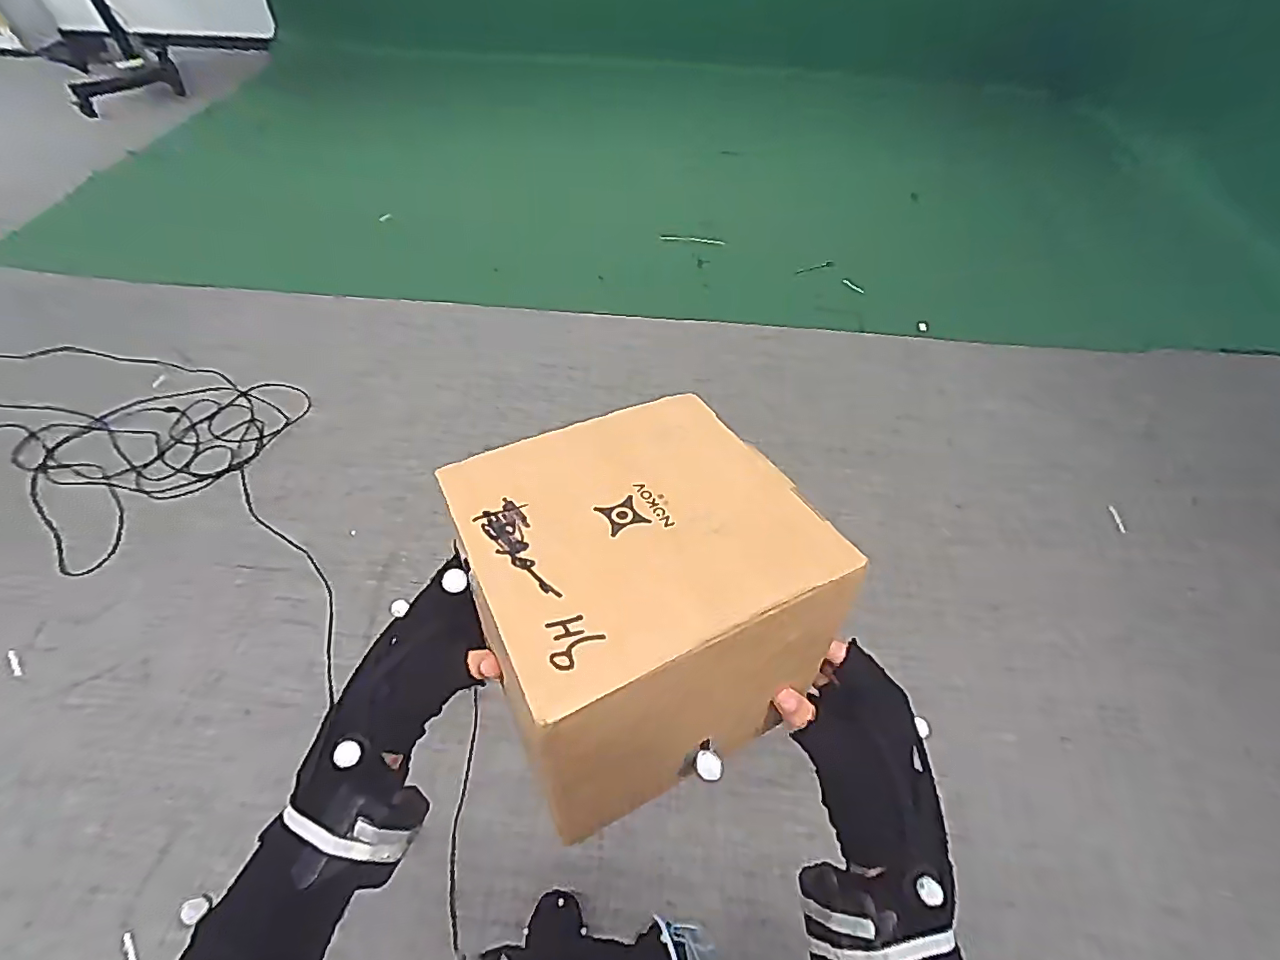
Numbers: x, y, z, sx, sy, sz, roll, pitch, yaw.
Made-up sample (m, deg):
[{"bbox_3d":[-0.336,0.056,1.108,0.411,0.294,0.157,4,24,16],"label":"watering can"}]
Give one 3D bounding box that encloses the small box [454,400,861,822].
[{"bbox_3d":[-0.001,0.078,0.351,0.179,0.176,0.168,-19,46,-22],"label":"small box"}]
